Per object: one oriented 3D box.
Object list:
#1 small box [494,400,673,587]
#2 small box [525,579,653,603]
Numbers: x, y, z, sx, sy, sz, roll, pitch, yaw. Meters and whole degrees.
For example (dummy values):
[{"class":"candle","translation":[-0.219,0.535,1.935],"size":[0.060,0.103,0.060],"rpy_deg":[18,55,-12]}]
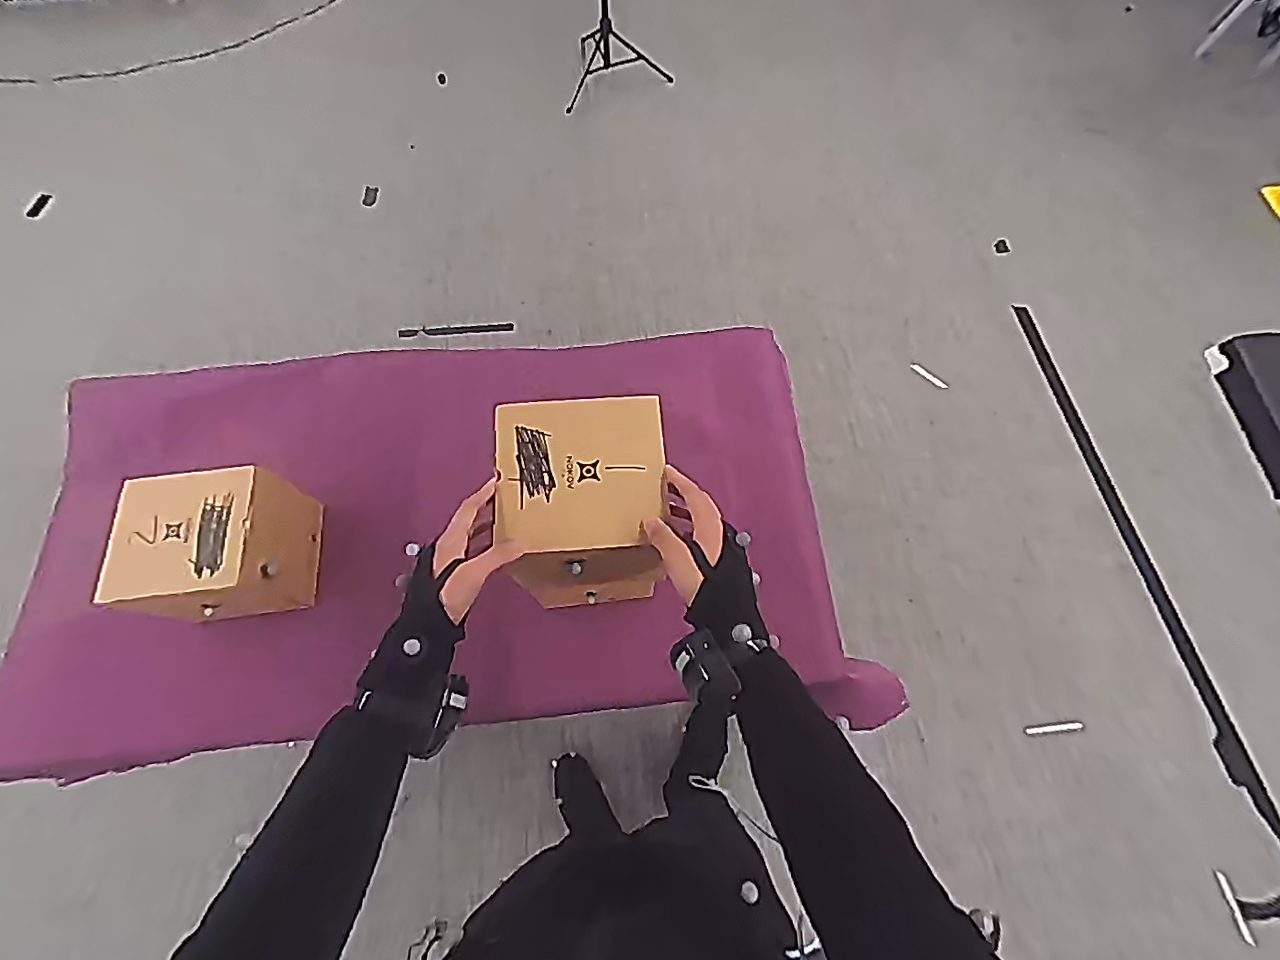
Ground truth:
[{"class":"small box","translation":[-0.058,0.024,0.623],"size":[0.179,0.176,0.168],"rpy_deg":[-3,68,-2]},{"class":"small box","translation":[-0.069,0.077,0.778],"size":[0.168,0.176,0.179],"rpy_deg":[-5,68,-2]}]
